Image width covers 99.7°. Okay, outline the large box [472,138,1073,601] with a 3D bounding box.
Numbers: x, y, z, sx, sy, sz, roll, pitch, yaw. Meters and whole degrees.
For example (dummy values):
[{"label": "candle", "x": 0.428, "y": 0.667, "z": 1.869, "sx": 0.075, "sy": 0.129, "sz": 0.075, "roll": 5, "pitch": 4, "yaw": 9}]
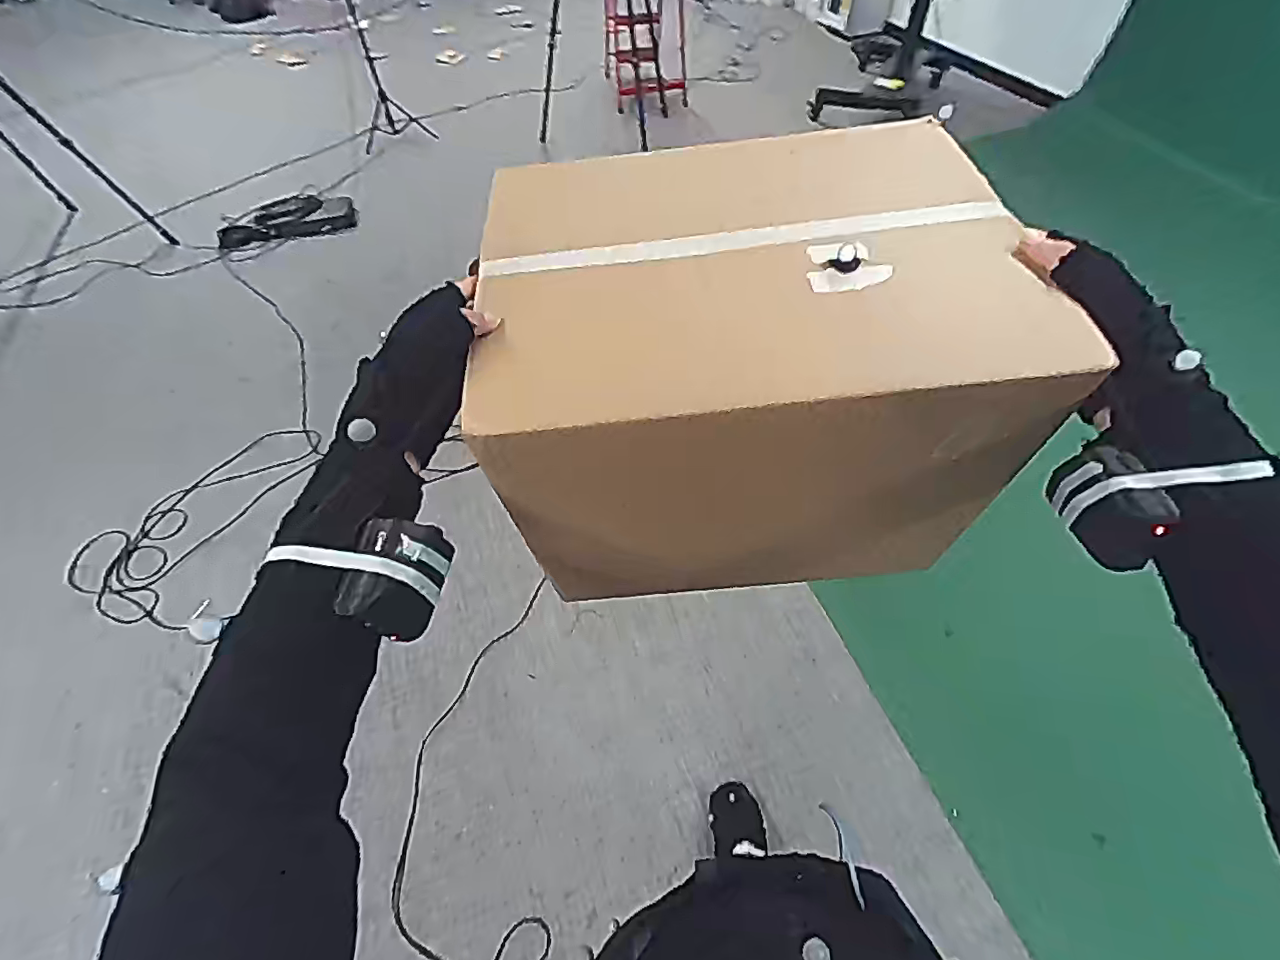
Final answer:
[{"label": "large box", "x": 0.081, "y": -0.092, "z": 0.554, "sx": 0.408, "sy": 0.320, "sz": 0.320, "roll": -6, "pitch": 58, "yaw": 1}]
